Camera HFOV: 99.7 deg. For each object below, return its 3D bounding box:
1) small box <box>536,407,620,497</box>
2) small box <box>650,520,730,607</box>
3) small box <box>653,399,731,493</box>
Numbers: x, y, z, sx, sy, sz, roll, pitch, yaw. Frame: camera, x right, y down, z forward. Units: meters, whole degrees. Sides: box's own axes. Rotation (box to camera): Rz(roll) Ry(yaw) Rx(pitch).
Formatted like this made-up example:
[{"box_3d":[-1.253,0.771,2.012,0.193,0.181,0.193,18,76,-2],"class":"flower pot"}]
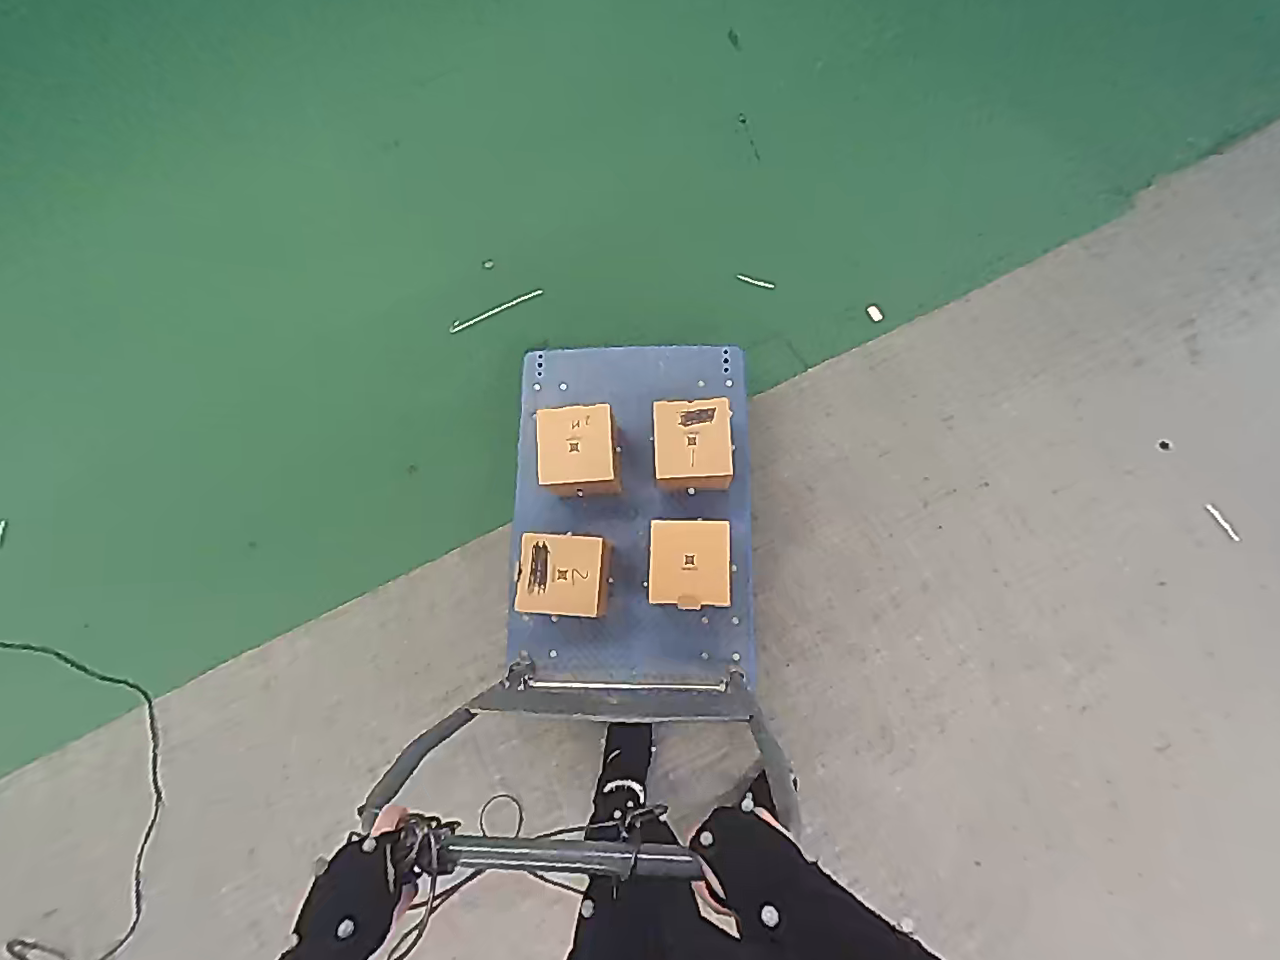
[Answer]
[{"box_3d":[-0.139,-0.057,1.260,0.168,0.176,0.179,-4,78,3],"class":"small box"},{"box_3d":[0.108,0.187,1.190,0.168,0.176,0.179,0,79,5],"class":"small box"},{"box_3d":[0.117,-0.072,1.242,0.168,0.176,0.179,-3,79,5],"class":"small box"}]
